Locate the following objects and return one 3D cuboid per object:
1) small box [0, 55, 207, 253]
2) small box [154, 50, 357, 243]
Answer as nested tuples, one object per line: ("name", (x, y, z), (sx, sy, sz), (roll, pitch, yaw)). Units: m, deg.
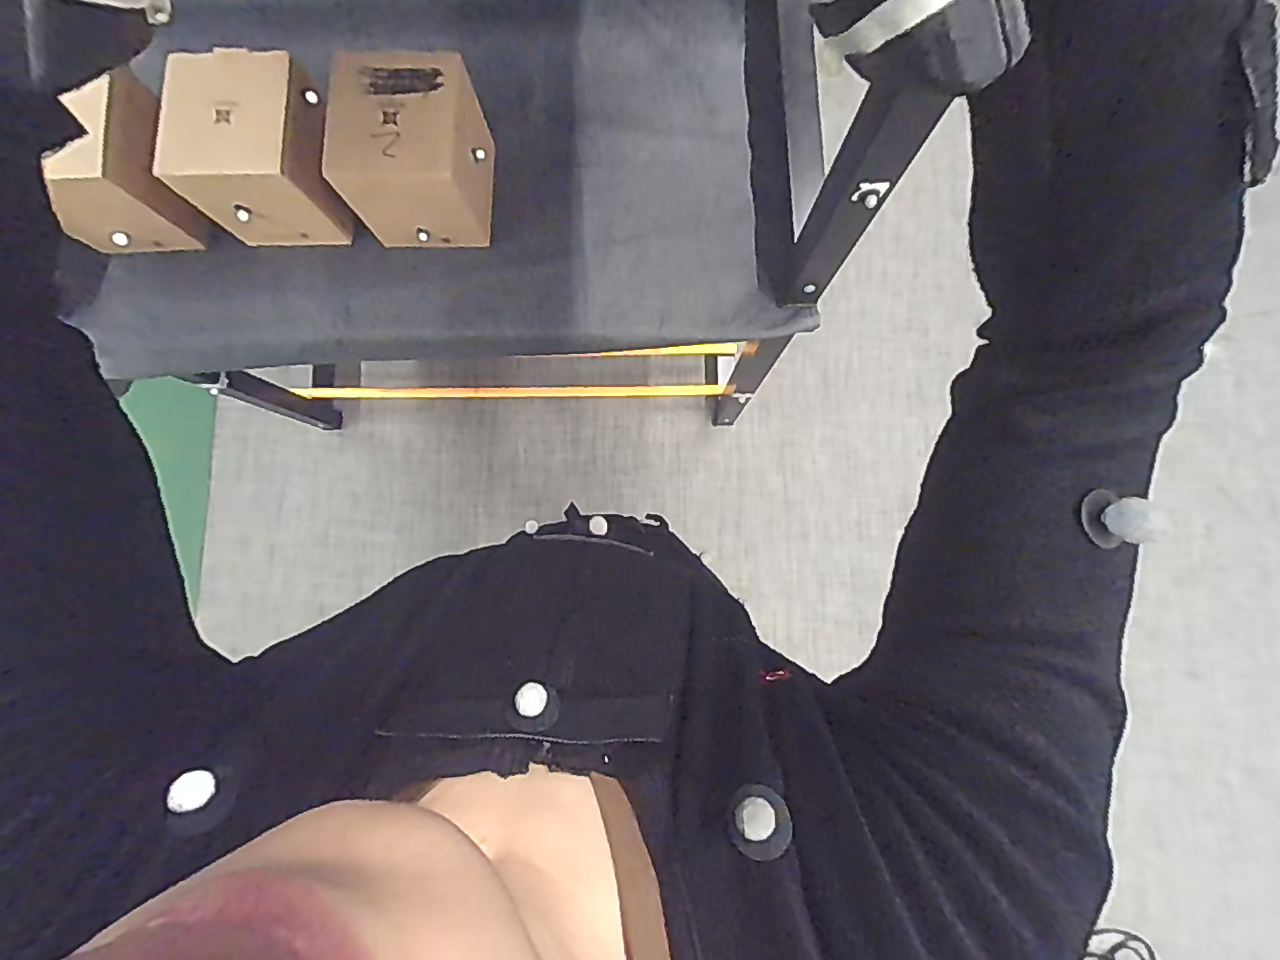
("small box", (-0.753, -0.450, 0.765), (0.168, 0.176, 0.179), (-3, 83, 1))
("small box", (-0.526, -0.457, 0.766), (0.168, 0.176, 0.179), (0, 82, 0))
